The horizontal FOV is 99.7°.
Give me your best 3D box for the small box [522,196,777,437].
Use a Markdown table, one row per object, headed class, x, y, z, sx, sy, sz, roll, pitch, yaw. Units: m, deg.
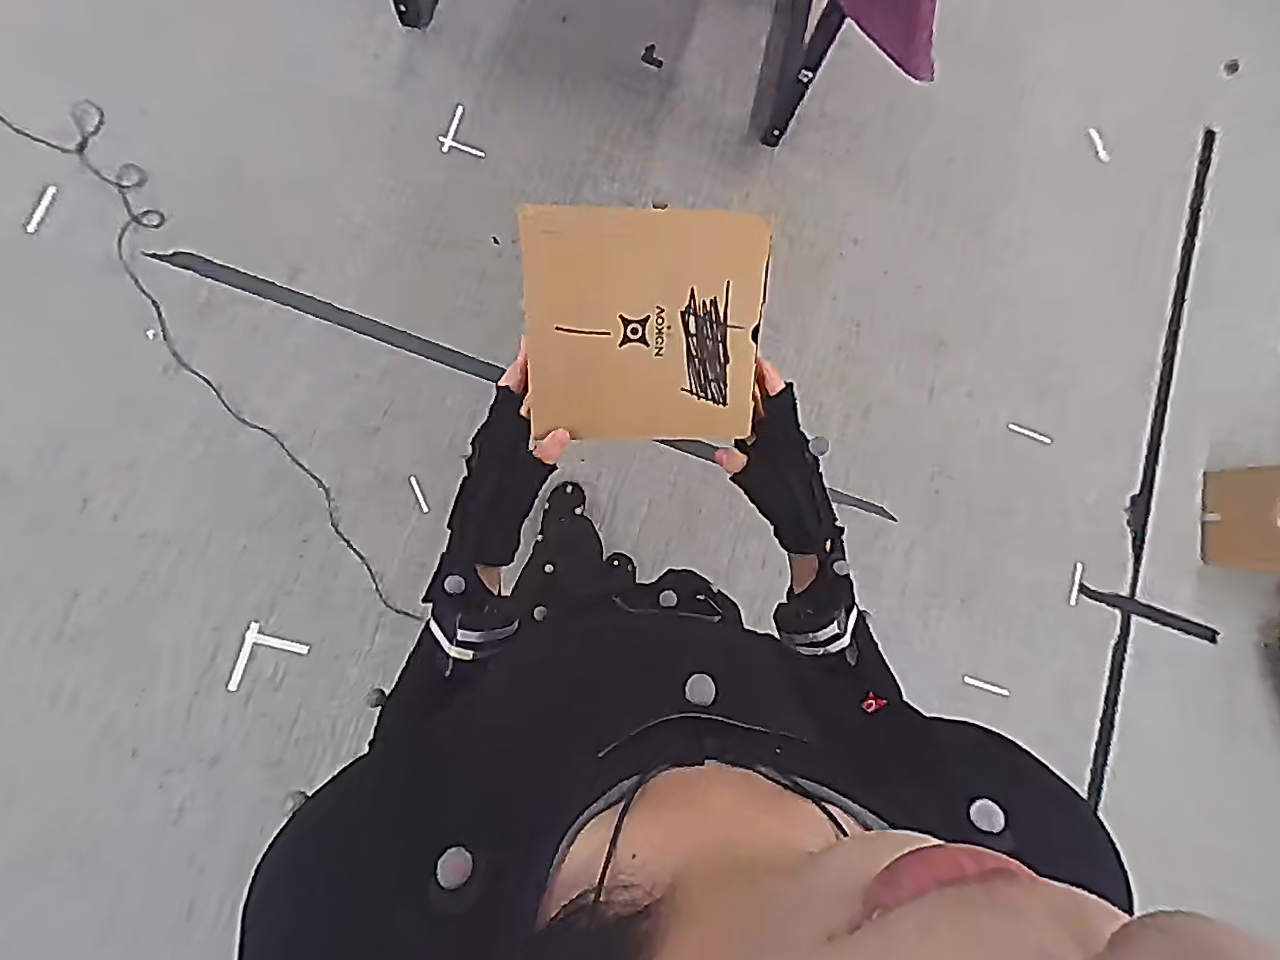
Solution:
| class | x | y | z | sx | sy | sz | roll | pitch | yaw |
| --- | --- | --- | --- | --- | --- | --- | --- | --- | --- |
| small box | -0.003 | -0.140 | 0.464 | 0.179 | 0.176 | 0.168 | 0 | 112 | -6 |
